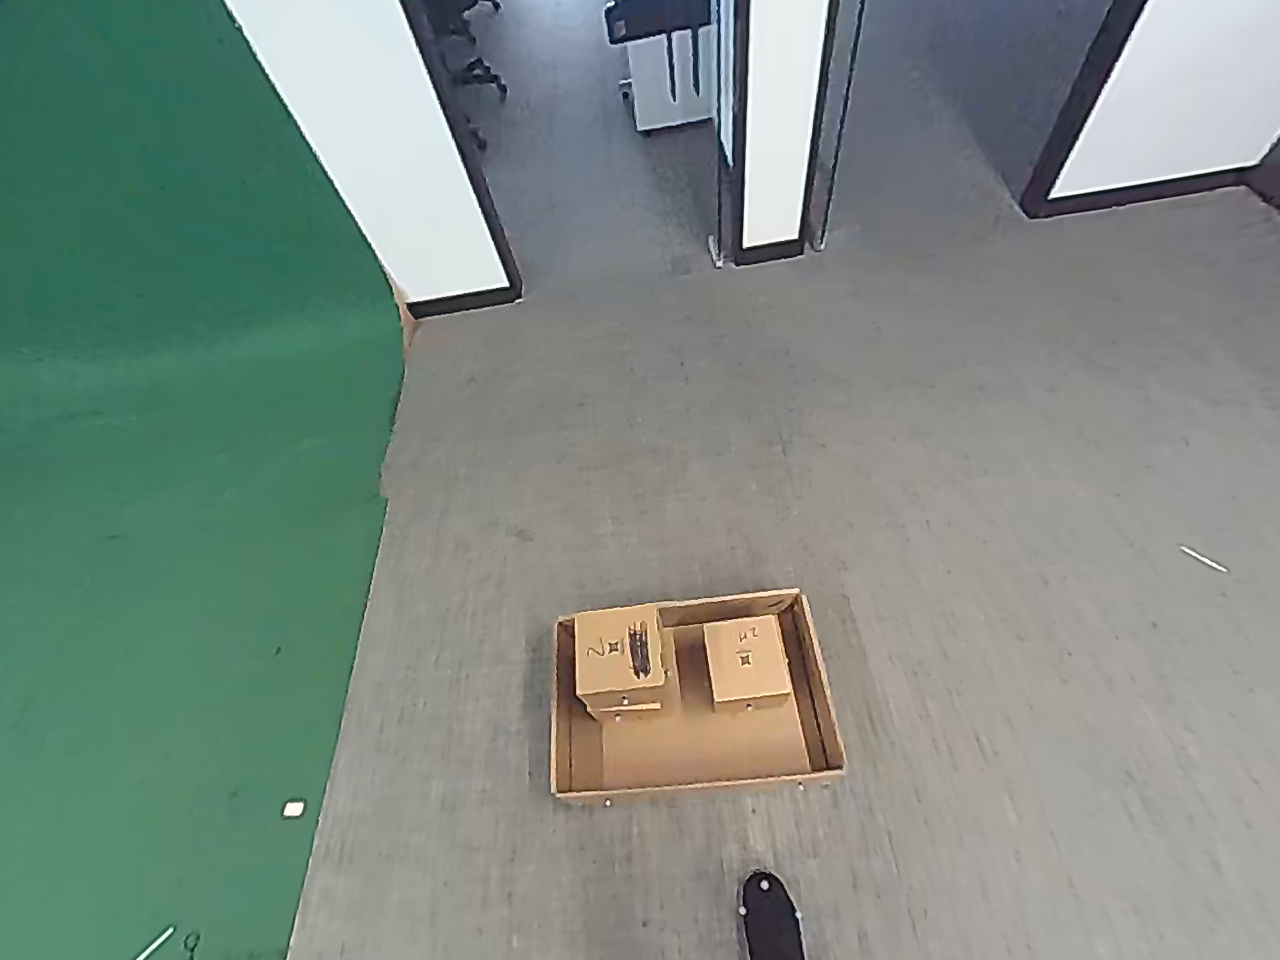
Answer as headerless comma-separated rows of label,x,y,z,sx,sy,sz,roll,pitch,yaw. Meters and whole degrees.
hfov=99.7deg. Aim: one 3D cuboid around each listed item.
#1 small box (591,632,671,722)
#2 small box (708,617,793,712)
small box,-0.016,0.475,1.290,0.168,0.176,0.179,-4,57,5
small box,0.254,0.439,1.267,0.168,0.176,0.179,-8,57,4
